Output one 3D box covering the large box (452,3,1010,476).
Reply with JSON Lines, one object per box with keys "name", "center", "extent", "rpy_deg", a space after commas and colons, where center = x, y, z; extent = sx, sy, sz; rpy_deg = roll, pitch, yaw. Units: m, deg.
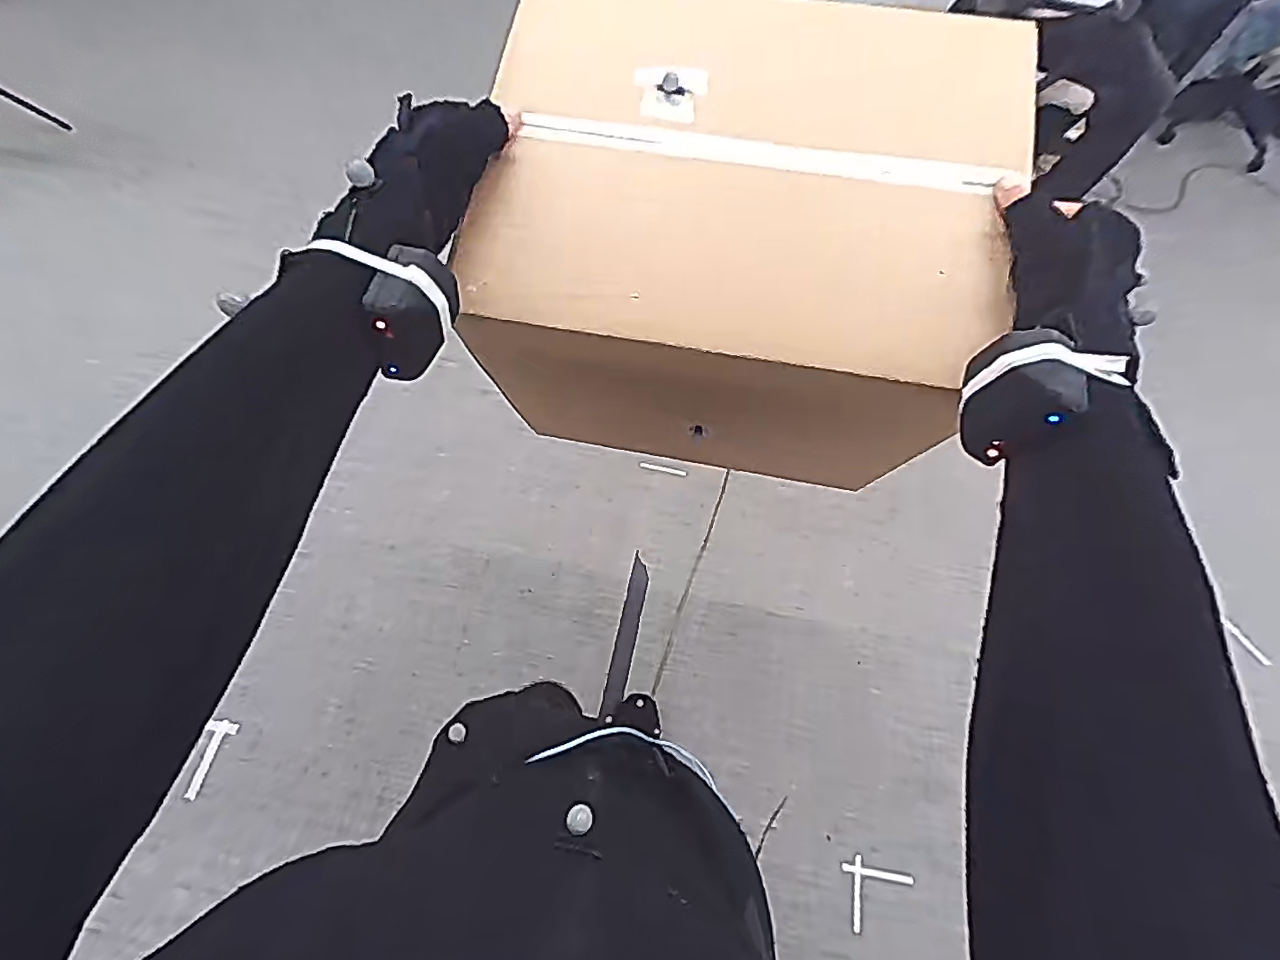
{"name": "large box", "center": [0.087, -0.208, 0.568], "extent": [0.408, 0.320, 0.320], "rpy_deg": [10, 78, 6]}
